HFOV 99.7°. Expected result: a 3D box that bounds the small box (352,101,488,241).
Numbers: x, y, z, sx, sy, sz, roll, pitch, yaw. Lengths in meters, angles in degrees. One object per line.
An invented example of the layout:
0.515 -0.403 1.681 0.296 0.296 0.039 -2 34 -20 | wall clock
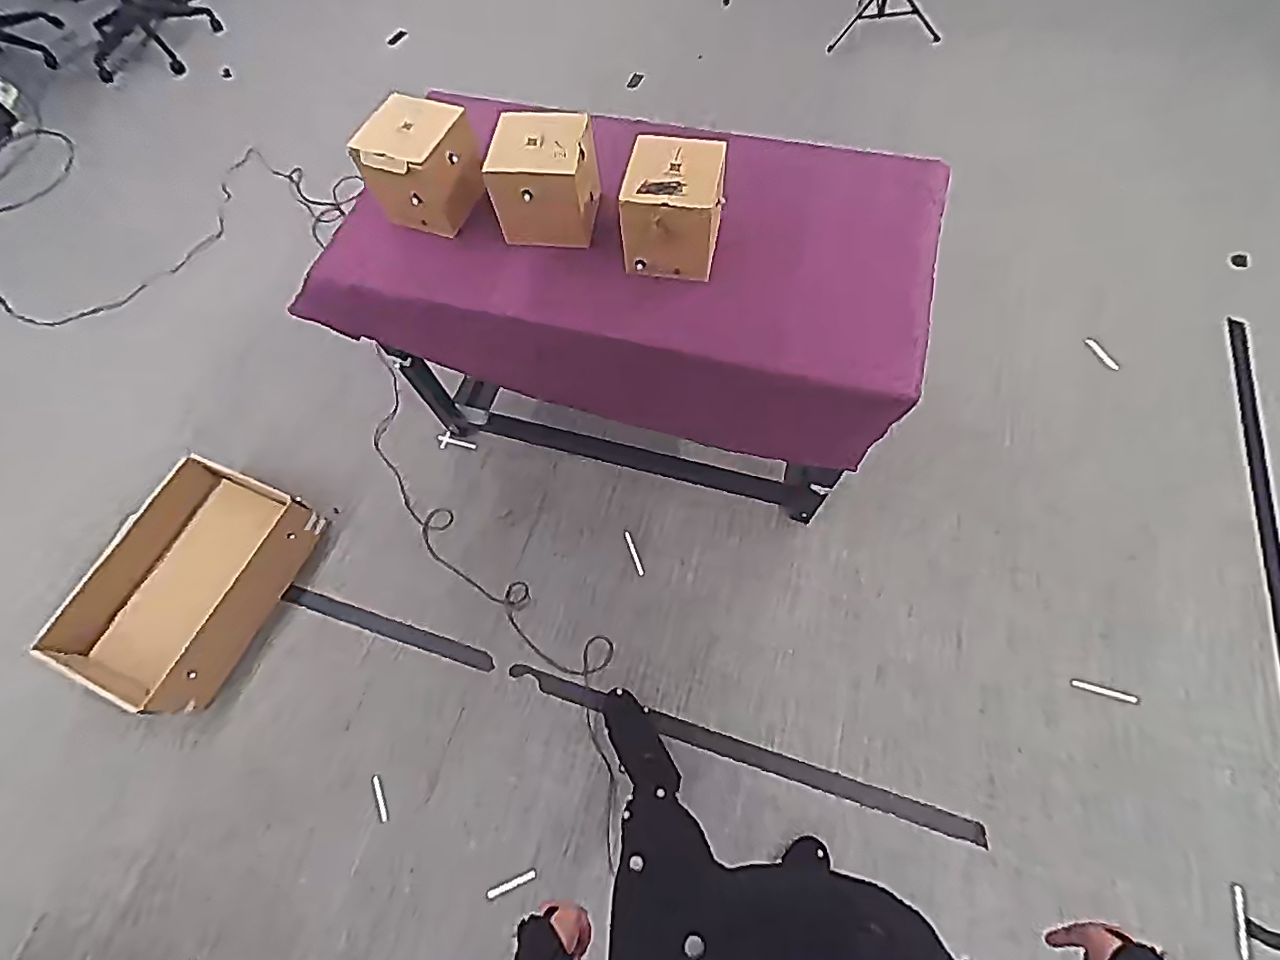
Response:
-0.436 -0.627 1.110 0.168 0.176 0.179 19 68 10 | small box

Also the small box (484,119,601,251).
-0.183 -0.578 1.071 0.179 0.176 0.168 5 67 6 | small box

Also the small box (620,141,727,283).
0.066 -0.500 1.022 0.168 0.176 0.179 9 66 7 | small box
